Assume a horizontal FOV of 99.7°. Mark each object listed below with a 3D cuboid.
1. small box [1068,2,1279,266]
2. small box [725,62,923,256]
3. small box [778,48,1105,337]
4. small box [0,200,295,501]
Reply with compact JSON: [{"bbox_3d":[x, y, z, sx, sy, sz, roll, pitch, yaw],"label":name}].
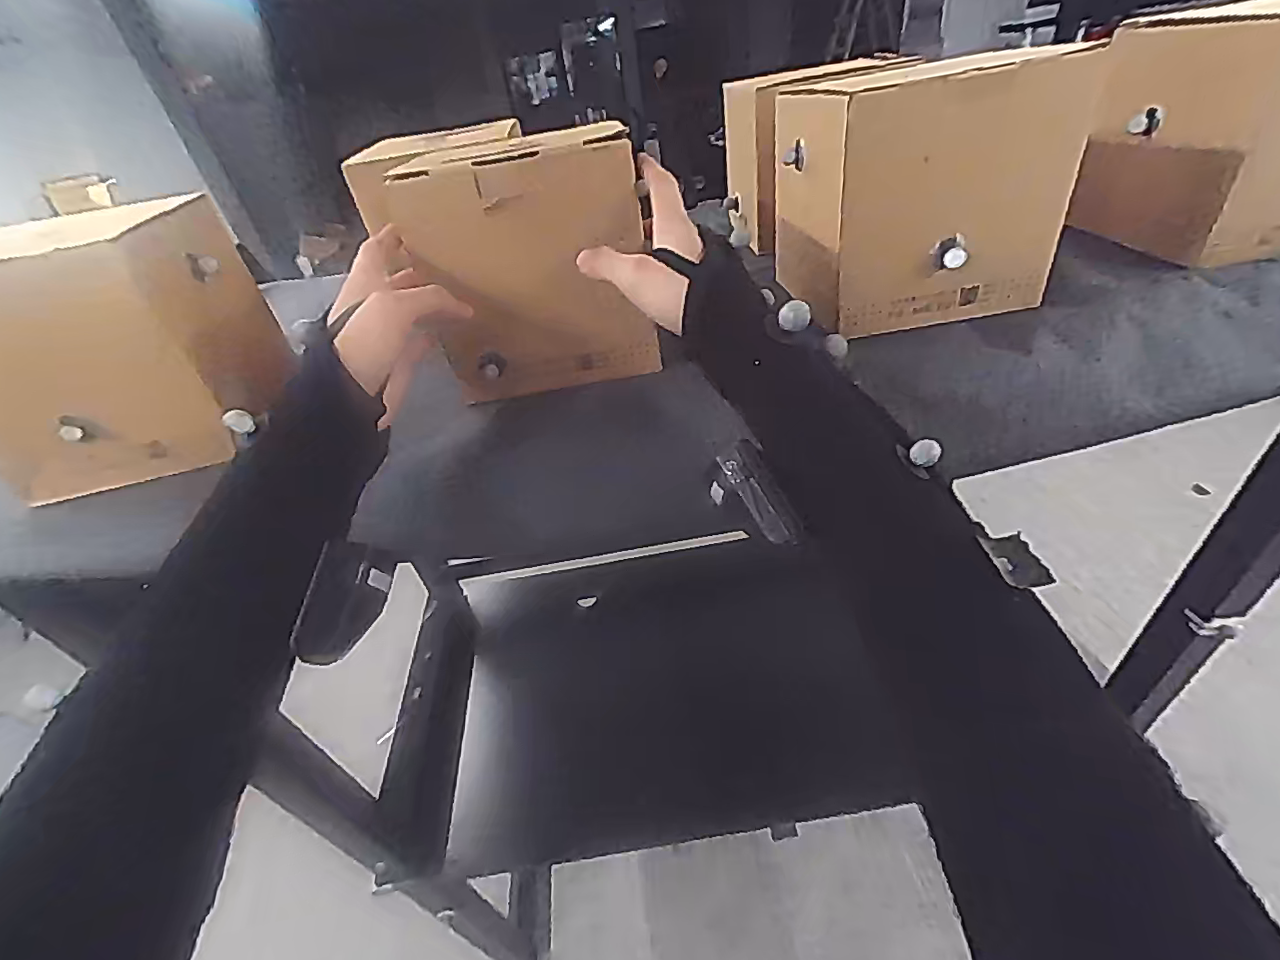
[{"bbox_3d":[0.518,-0.296,0.459,0.168,0.176,0.179,-9,37,4],"label":"small box"},{"bbox_3d":[0.204,-0.387,0.652,0.179,0.176,0.168,-9,37,2],"label":"small box"},{"bbox_3d":[0.215,-0.236,0.452,0.168,0.176,0.179,-9,36,2],"label":"small box"},{"bbox_3d":[-0.418,-0.110,0.441,0.168,0.176,0.179,-15,39,-8],"label":"small box"}]
